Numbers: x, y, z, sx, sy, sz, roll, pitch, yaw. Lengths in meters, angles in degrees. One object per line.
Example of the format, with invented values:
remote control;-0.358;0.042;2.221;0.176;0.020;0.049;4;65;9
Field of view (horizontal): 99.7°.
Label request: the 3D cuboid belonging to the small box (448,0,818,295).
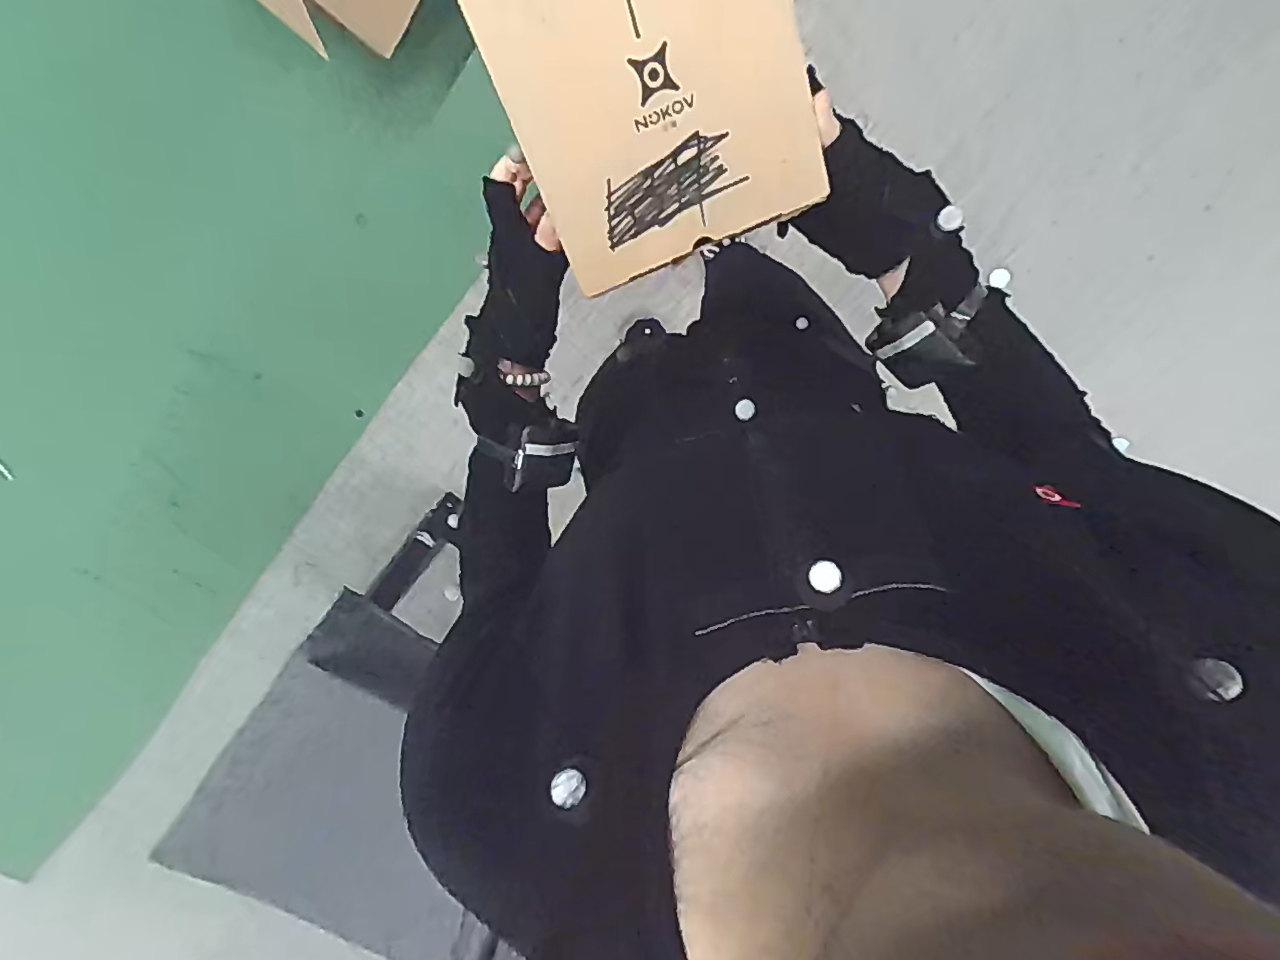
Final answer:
small box;-0.002;-0.255;0.368;0.168;0.176;0.179;-22;118;7
